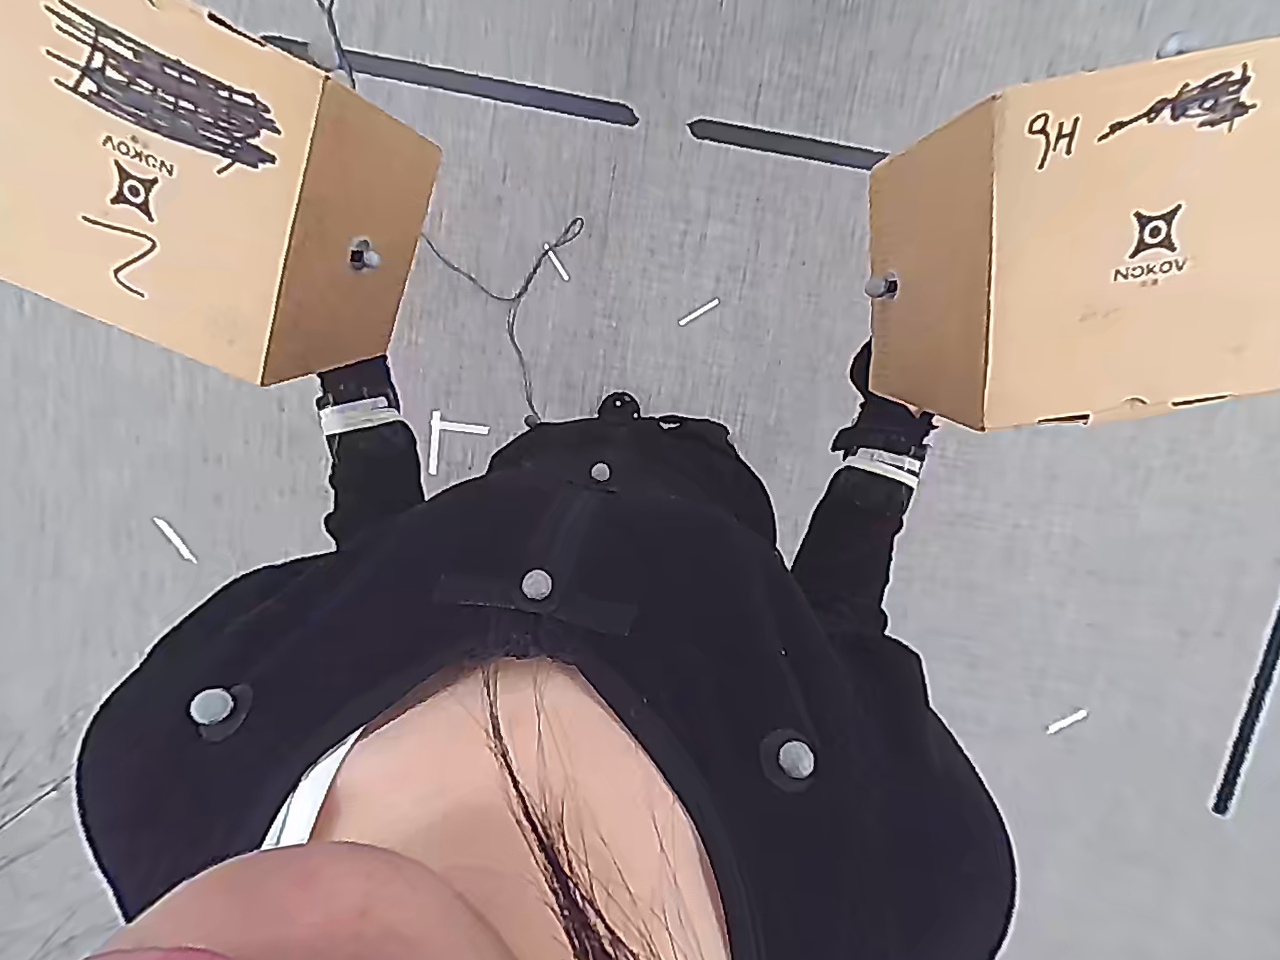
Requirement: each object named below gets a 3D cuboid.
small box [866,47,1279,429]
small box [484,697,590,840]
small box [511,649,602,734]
[{"bbox_3d":[0.266,-0.147,0.368,0.168,0.176,0.179,-8,108,4],"label":"small box"},{"bbox_3d":[-0.184,0.524,1.005,0.168,0.176,0.179,2,98,1],"label":"small box"},{"bbox_3d":[-0.187,0.489,1.164,0.179,0.176,0.168,17,96,-1],"label":"small box"}]
